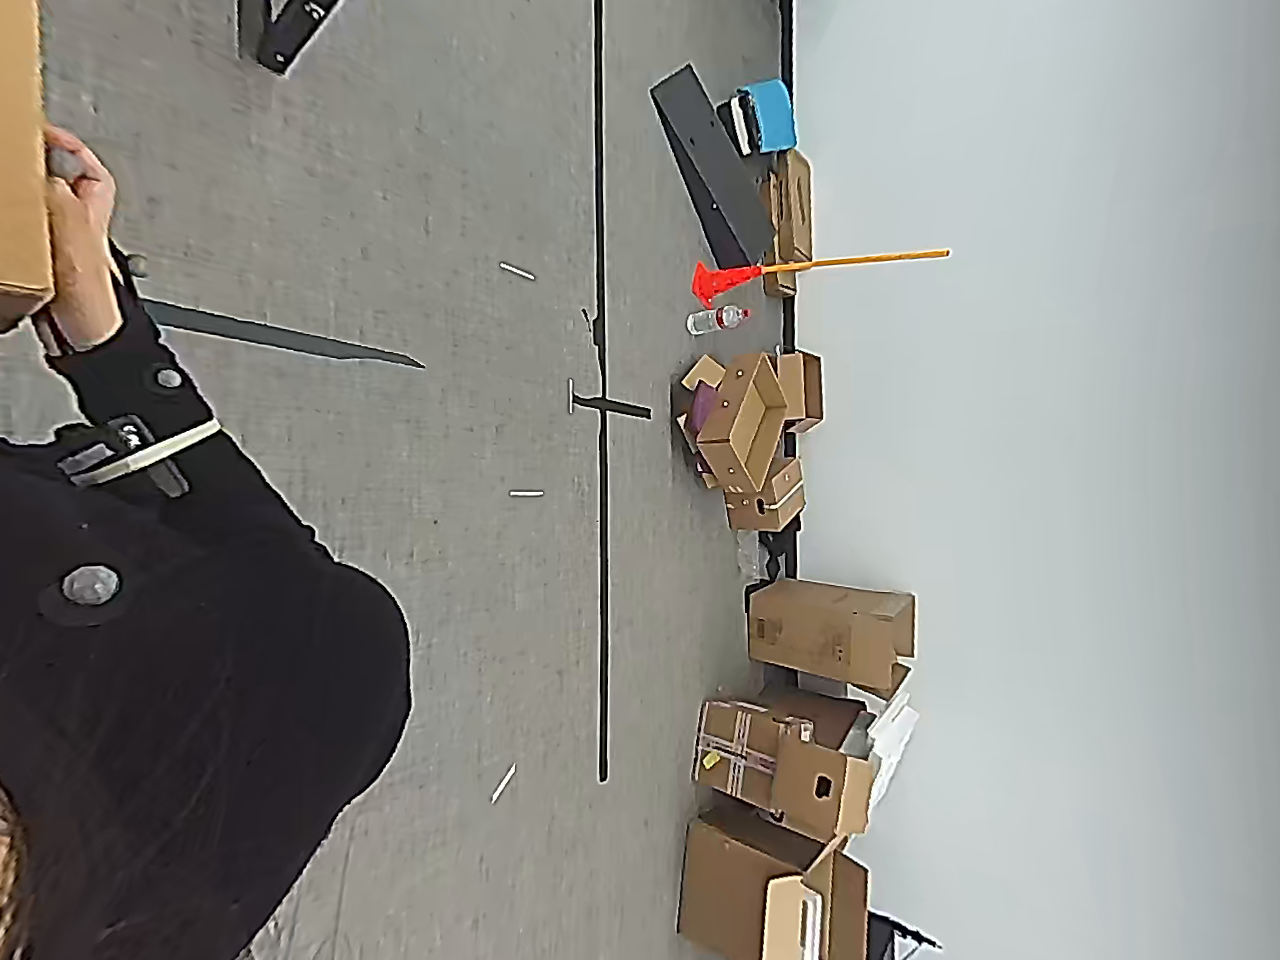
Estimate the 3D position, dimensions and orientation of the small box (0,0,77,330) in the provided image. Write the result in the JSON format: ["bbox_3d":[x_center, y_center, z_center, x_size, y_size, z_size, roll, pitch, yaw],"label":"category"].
[{"bbox_3d":[-0.395,-0.177,0.248,0.168,0.176,0.179,-4,97,-54],"label":"small box"}]
